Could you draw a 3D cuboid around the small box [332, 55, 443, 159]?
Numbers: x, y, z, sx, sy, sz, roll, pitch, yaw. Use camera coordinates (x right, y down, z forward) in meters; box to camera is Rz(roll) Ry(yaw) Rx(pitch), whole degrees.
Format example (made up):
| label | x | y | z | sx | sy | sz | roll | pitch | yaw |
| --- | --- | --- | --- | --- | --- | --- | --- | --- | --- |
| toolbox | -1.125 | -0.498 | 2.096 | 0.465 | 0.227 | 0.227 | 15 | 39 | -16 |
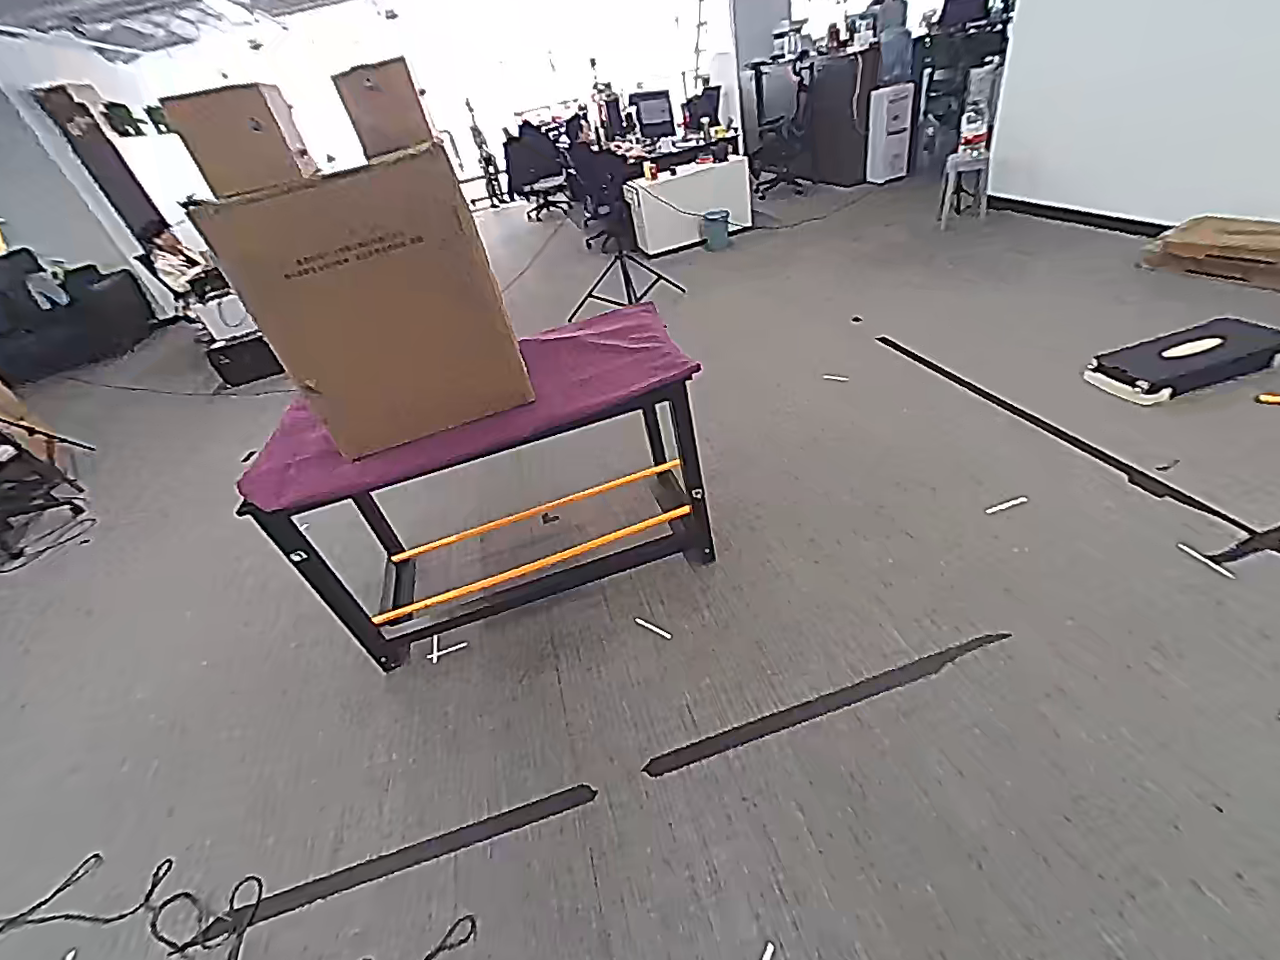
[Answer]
| label | x | y | z | sx | sy | sz | roll | pitch | yaw |
| --- | --- | --- | --- | --- | --- | --- | --- | --- | --- |
| small box | -0.596 | -0.898 | 1.304 | 0.179 | 0.176 | 0.168 | -17 | 37 | -2 |
